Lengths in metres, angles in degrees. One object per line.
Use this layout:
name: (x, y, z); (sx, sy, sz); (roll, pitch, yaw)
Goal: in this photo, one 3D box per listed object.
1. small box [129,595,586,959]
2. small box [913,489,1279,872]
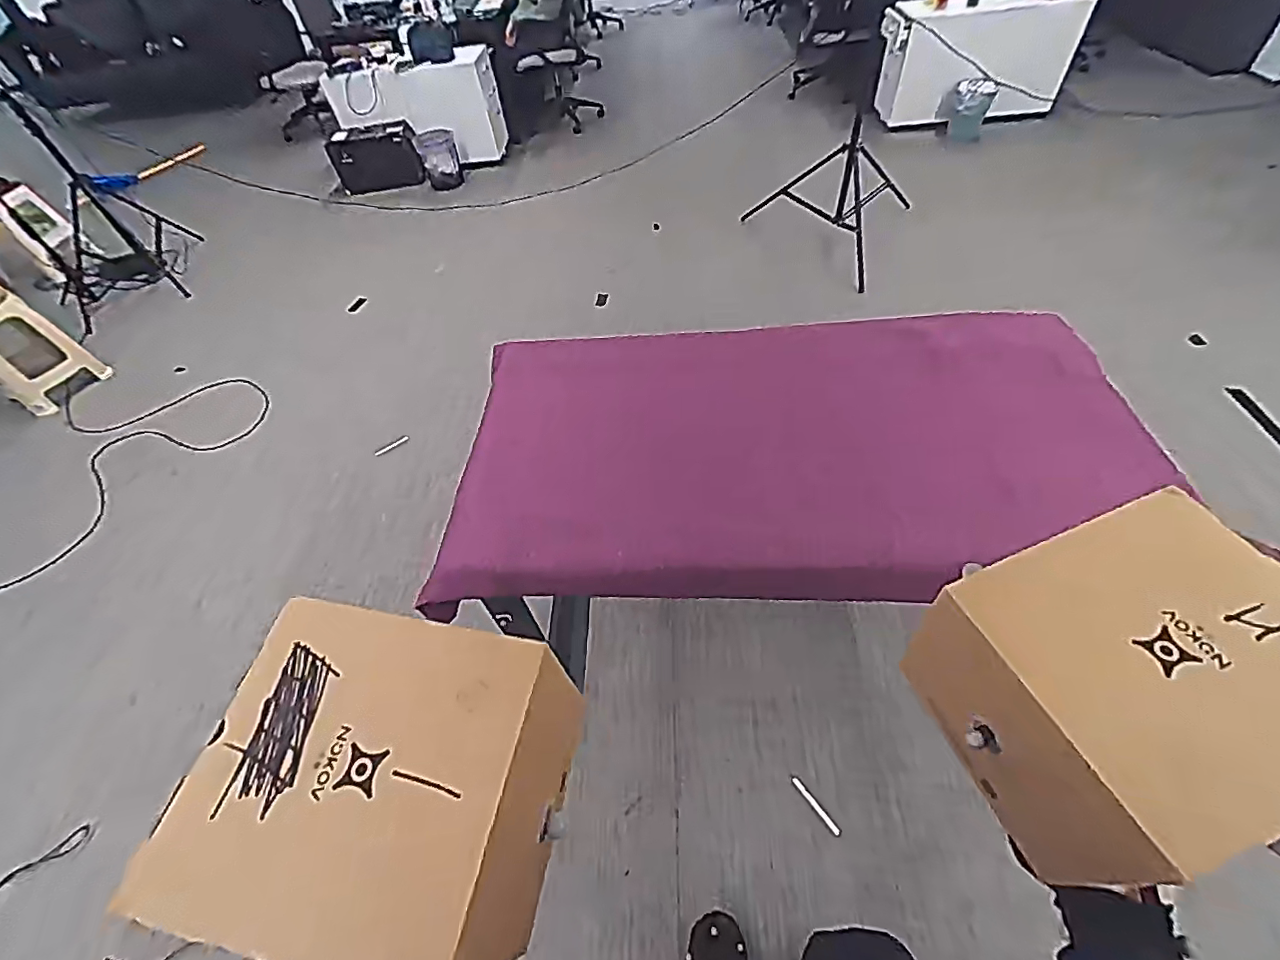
small box: (-0.147, 0.196, 0.359); (0.179, 0.176, 0.168); (8, 57, 9)
small box: (0.315, 0.142, 0.369); (0.179, 0.176, 0.168); (-22, 52, -4)
